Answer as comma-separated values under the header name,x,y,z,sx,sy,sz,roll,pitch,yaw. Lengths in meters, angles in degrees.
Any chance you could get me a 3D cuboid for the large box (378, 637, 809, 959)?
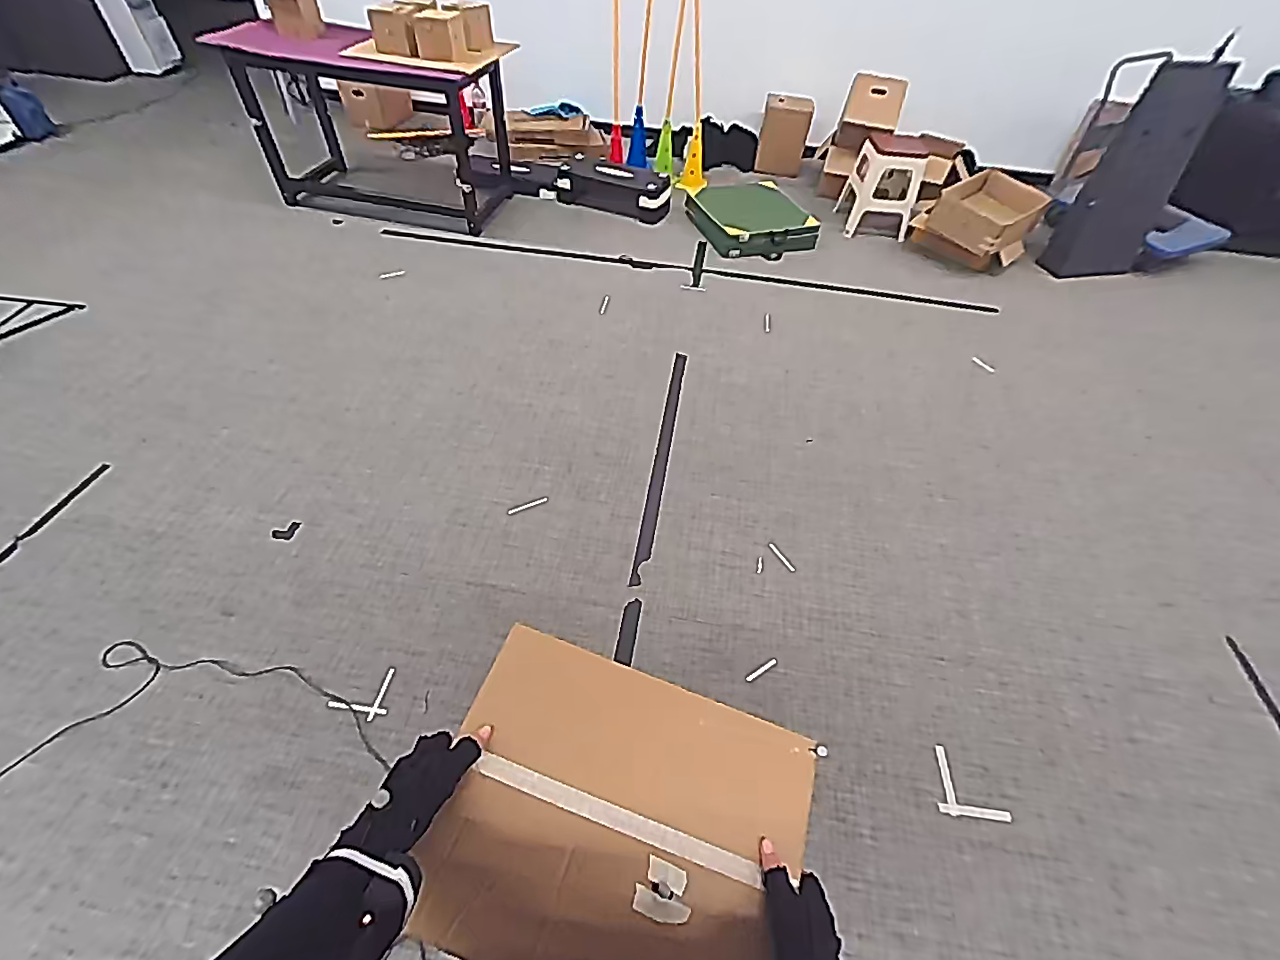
name,x,y,z,sx,sy,sz,roll,pitch,yaw
large box,-0.045,0.463,0.715,0.408,0.320,0.320,20,55,5
